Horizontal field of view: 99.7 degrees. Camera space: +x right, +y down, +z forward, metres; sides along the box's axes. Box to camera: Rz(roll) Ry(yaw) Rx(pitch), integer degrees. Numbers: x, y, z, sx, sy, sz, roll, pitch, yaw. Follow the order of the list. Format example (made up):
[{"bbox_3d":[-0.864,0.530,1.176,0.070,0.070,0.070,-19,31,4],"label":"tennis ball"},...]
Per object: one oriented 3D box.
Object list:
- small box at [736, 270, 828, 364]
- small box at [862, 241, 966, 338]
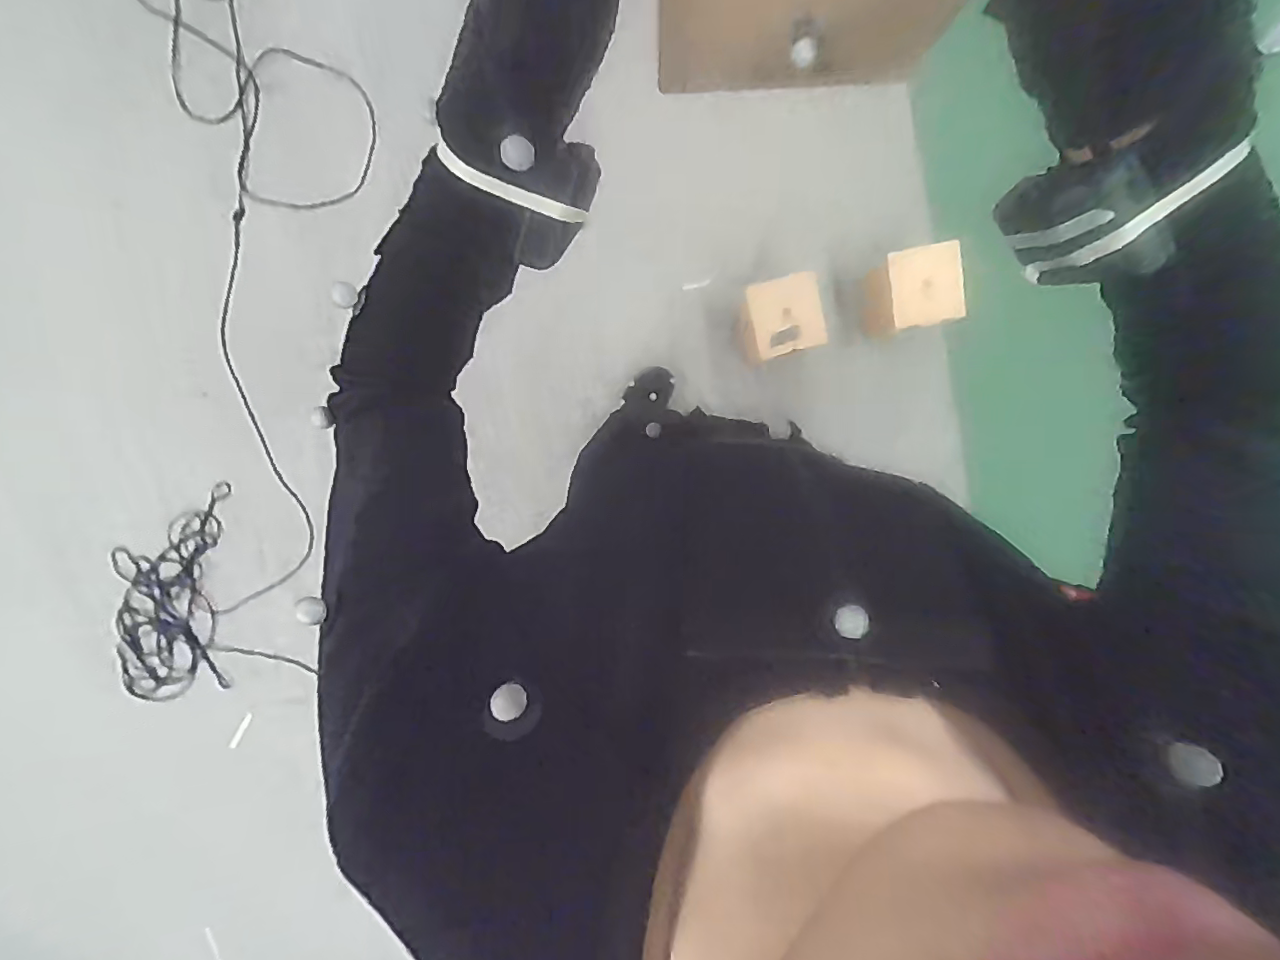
[{"bbox_3d":[0.346,-0.394,1.345,0.168,0.176,0.179,-16,95,4],"label":"small box"},{"bbox_3d":[0.663,-0.459,1.327,0.168,0.176,0.179,-10,97,4],"label":"small box"}]
